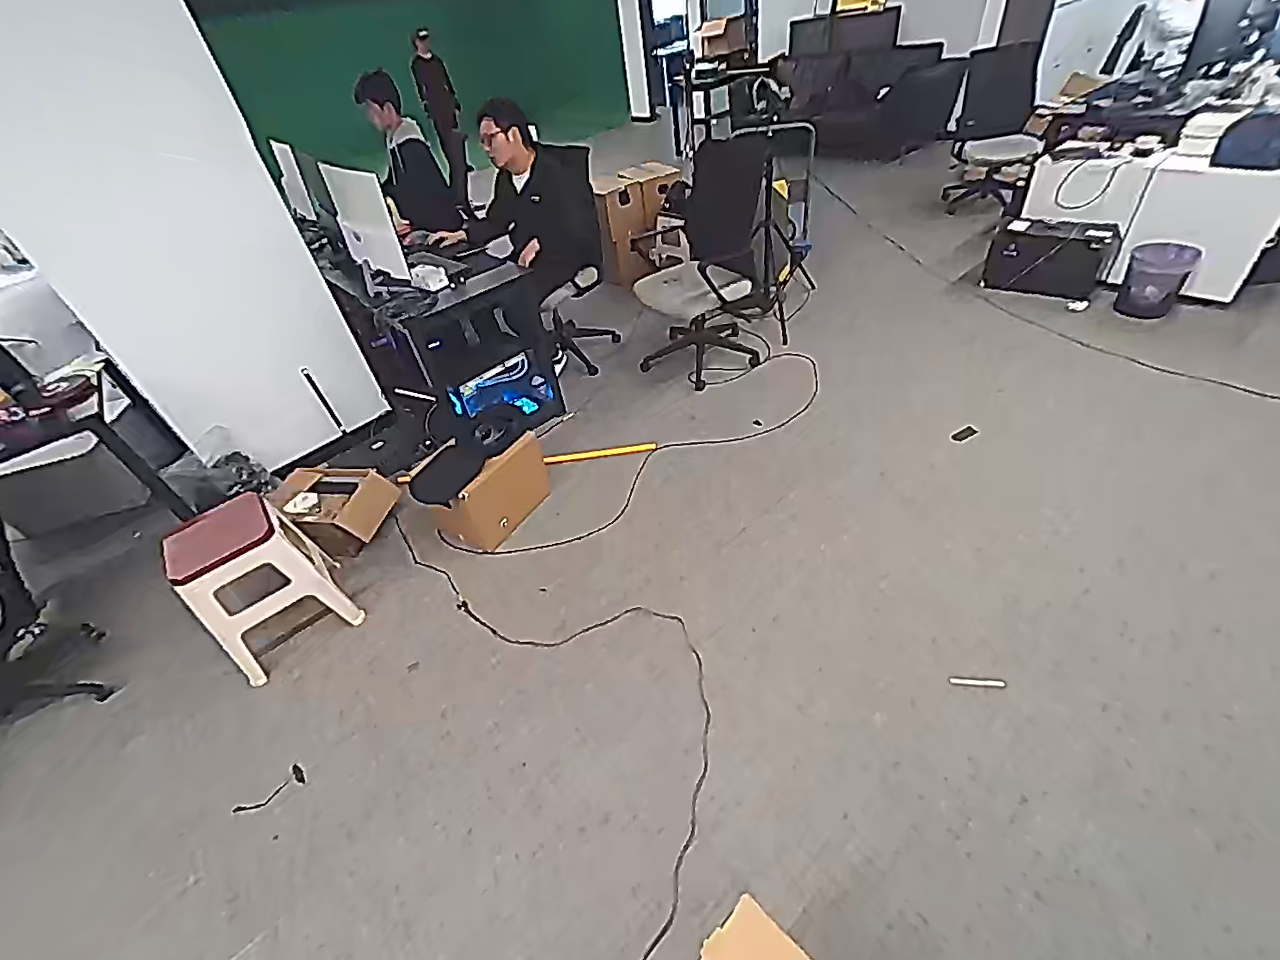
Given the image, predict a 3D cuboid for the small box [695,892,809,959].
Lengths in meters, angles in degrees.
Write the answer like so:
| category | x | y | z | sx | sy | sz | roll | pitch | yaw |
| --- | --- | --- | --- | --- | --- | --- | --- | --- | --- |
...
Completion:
| category | x | y | z | sx | sy | sz | roll | pitch | yaw |
| --- | --- | --- | --- | --- | --- | --- | --- | --- | --- |
| small box | 0.172 | 0.769 | 0.793 | 0.179 | 0.176 | 0.168 | 30 | 54 | 36 |
